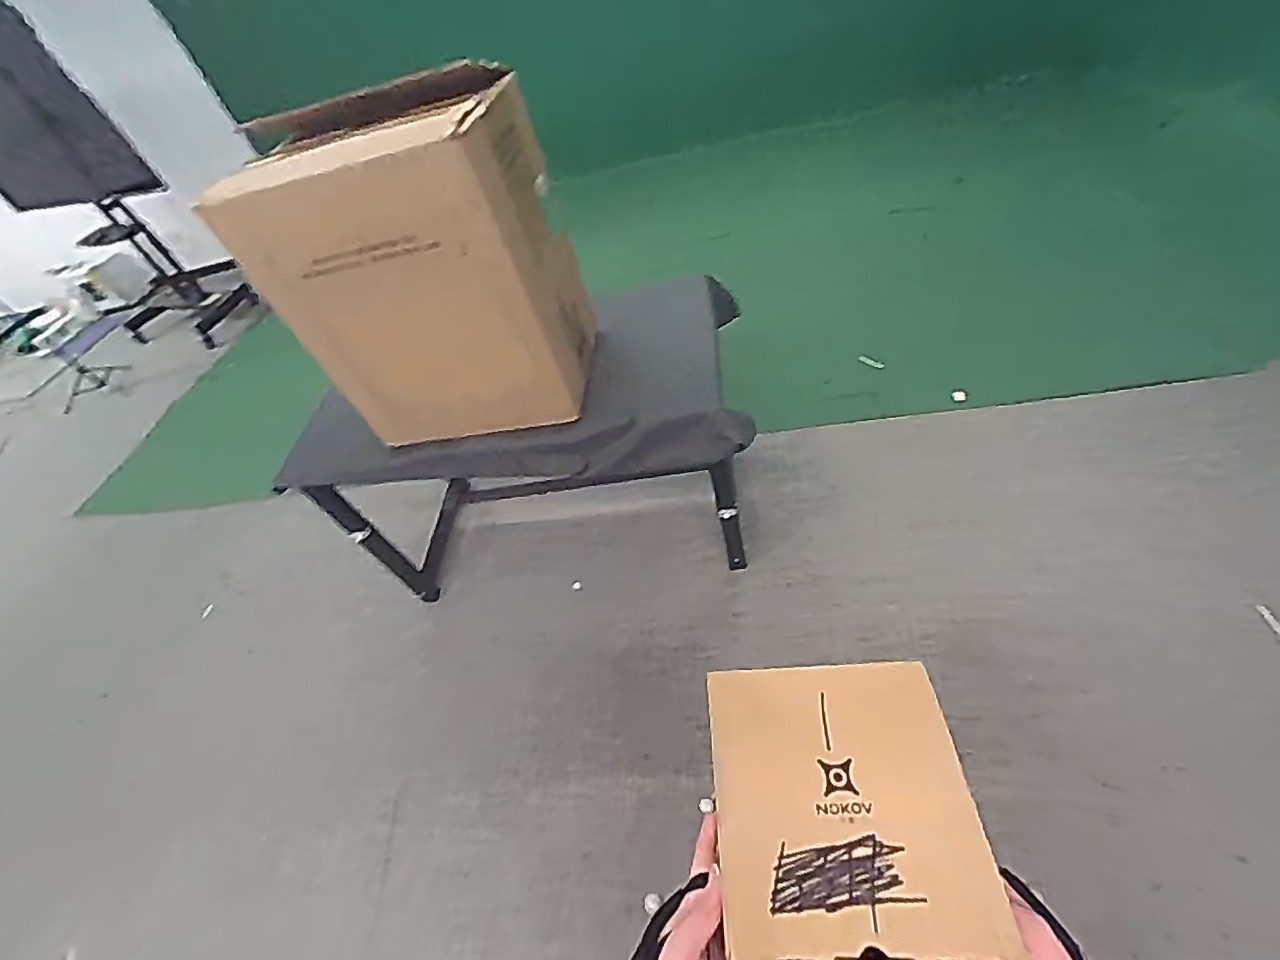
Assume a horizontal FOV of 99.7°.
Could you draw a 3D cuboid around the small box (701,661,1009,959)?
[{"bbox_3d":[0.141,0.263,0.422,0.168,0.176,0.179,-6,46,7],"label":"small box"}]
